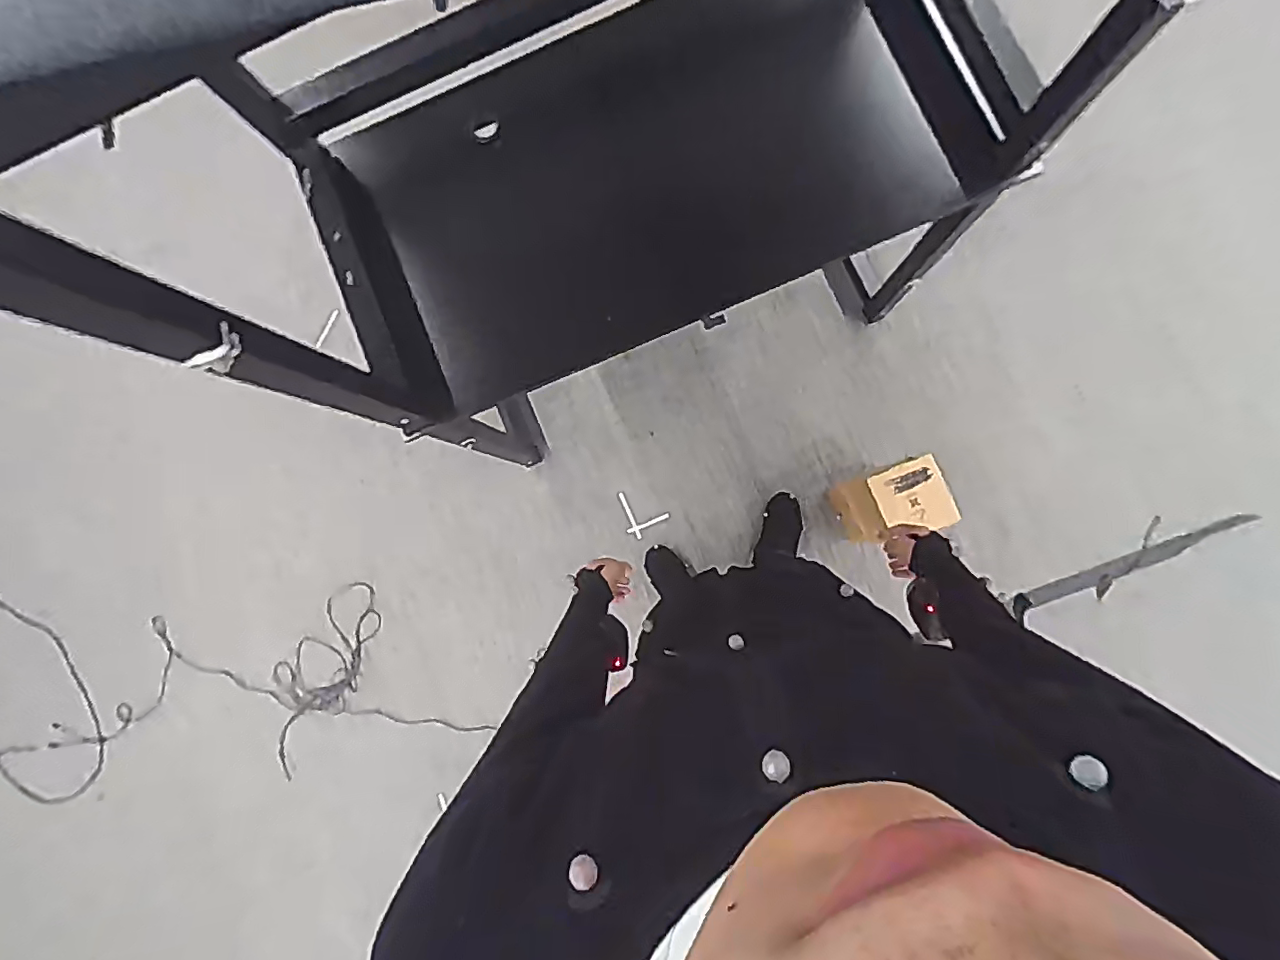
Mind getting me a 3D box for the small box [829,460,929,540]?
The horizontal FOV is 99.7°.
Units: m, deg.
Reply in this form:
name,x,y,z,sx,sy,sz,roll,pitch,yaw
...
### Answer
name,x,y,z,sx,sy,sz,roll,pitch,yaw
small box,0.661,0.058,1.518,0.179,0.176,0.168,-25,84,4
